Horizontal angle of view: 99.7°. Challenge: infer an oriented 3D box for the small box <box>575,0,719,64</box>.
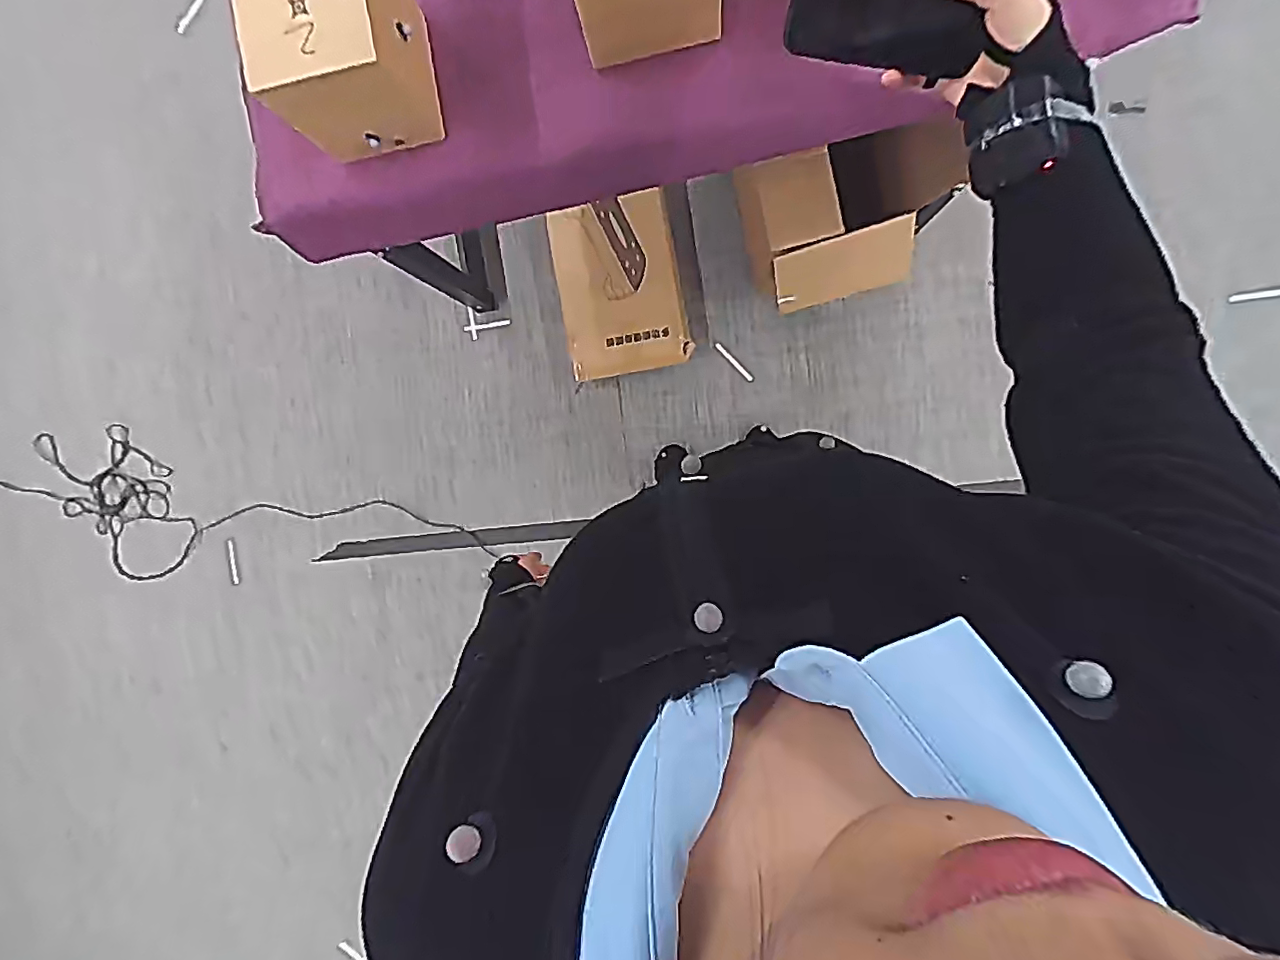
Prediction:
[{"bbox_3d":[0.001,-0.647,0.640,0.179,0.176,0.168,-9,91,7],"label":"small box"}]
